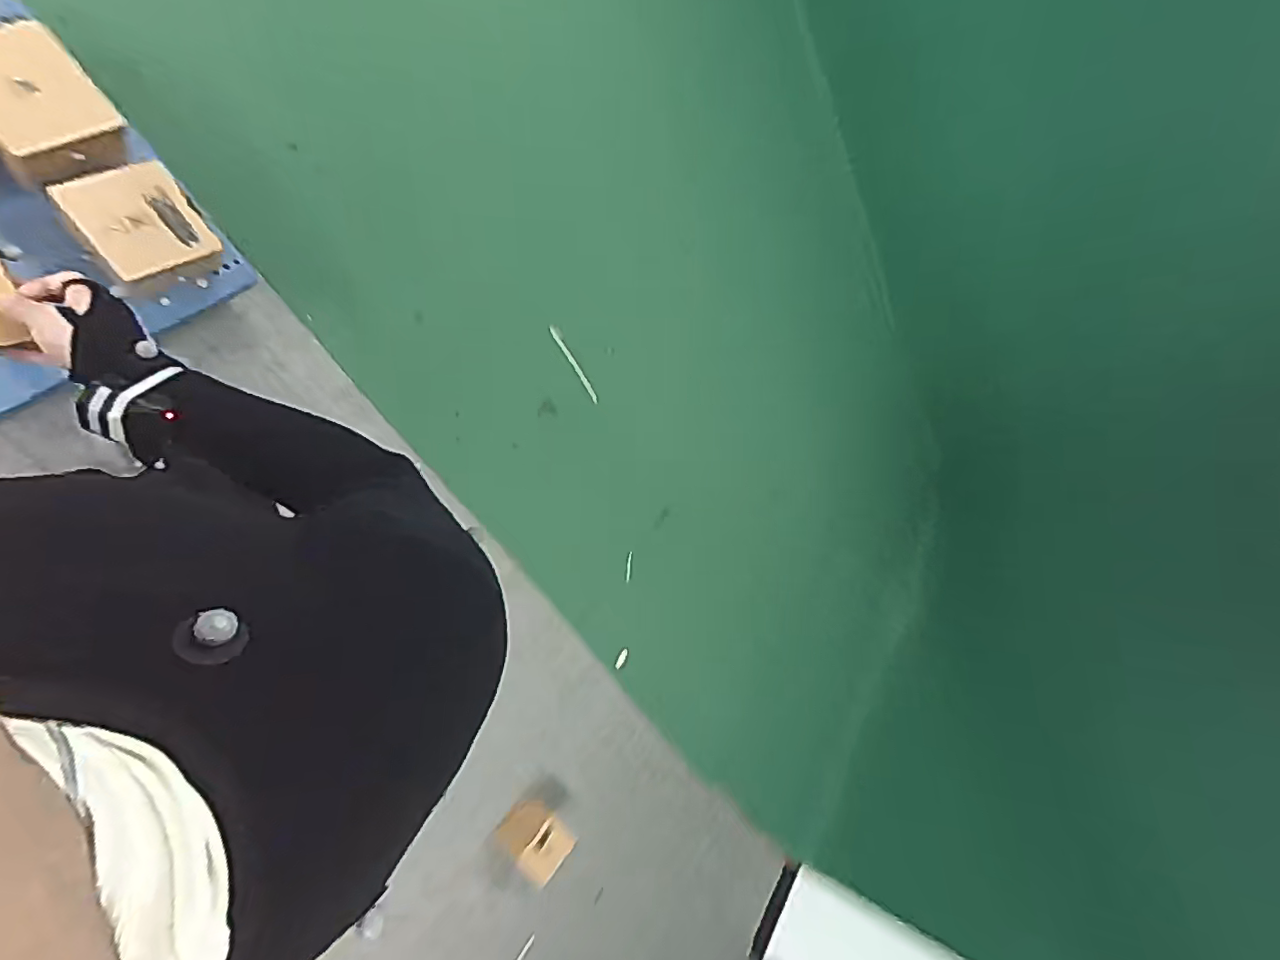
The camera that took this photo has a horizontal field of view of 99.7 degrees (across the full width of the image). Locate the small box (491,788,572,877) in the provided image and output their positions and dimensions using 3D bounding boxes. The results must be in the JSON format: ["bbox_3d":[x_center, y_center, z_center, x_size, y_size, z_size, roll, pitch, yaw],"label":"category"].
[{"bbox_3d":[-0.373,1.187,1.839,0.168,0.176,0.179,-45,120,-31],"label":"small box"}]

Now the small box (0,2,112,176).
[{"bbox_3d":[-1.058,-0.653,0.920,0.179,0.176,0.168,-48,121,-29],"label":"small box"}]
